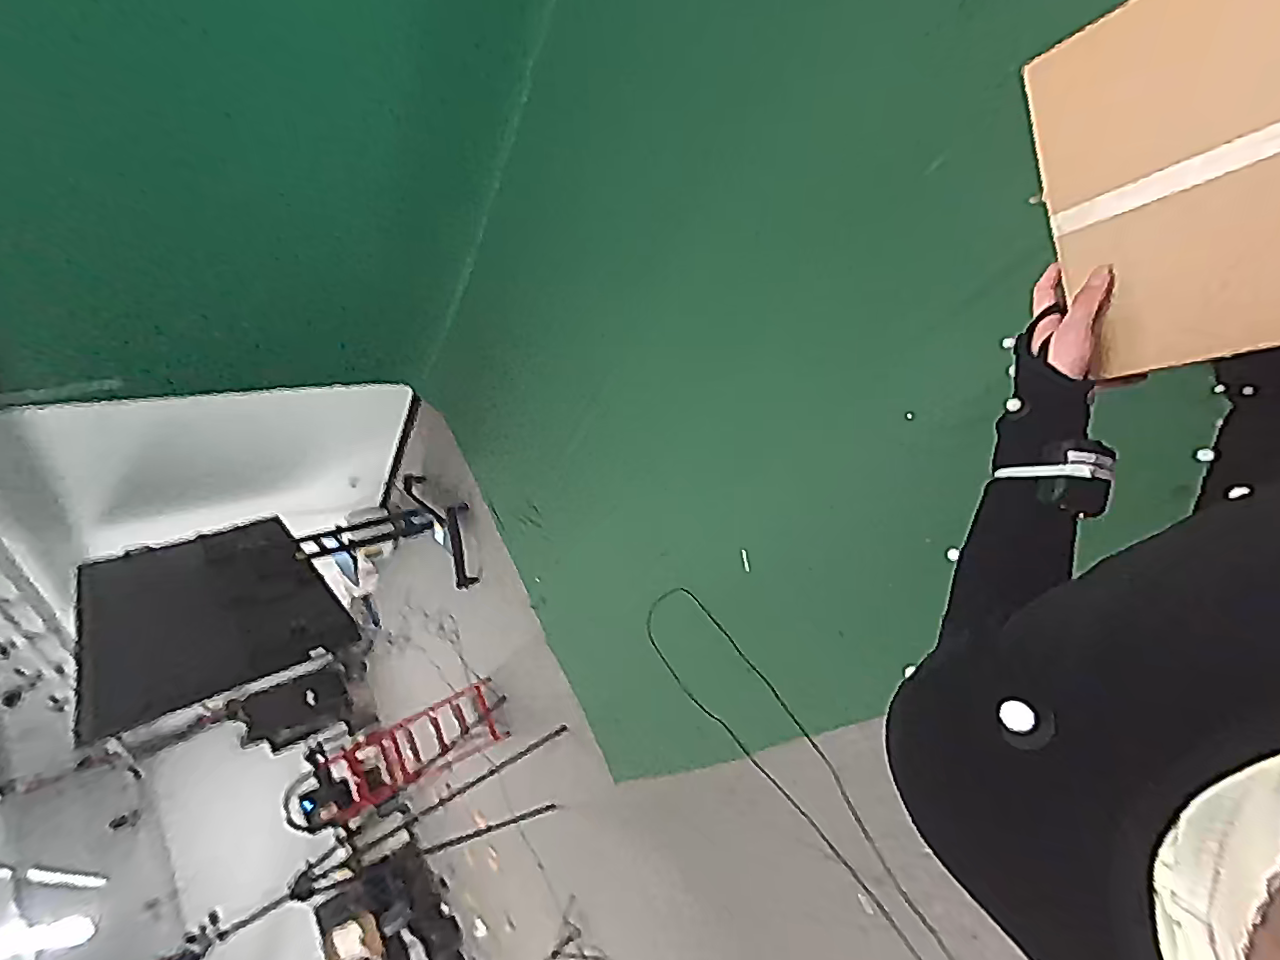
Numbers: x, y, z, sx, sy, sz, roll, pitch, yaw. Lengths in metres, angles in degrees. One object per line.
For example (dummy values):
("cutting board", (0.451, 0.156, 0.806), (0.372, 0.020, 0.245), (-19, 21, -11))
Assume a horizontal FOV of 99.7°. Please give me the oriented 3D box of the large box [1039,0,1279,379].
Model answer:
("large box", (0.651, -0.295, 0.464), (0.408, 0.320, 0.320), (-10, 94, 52))
